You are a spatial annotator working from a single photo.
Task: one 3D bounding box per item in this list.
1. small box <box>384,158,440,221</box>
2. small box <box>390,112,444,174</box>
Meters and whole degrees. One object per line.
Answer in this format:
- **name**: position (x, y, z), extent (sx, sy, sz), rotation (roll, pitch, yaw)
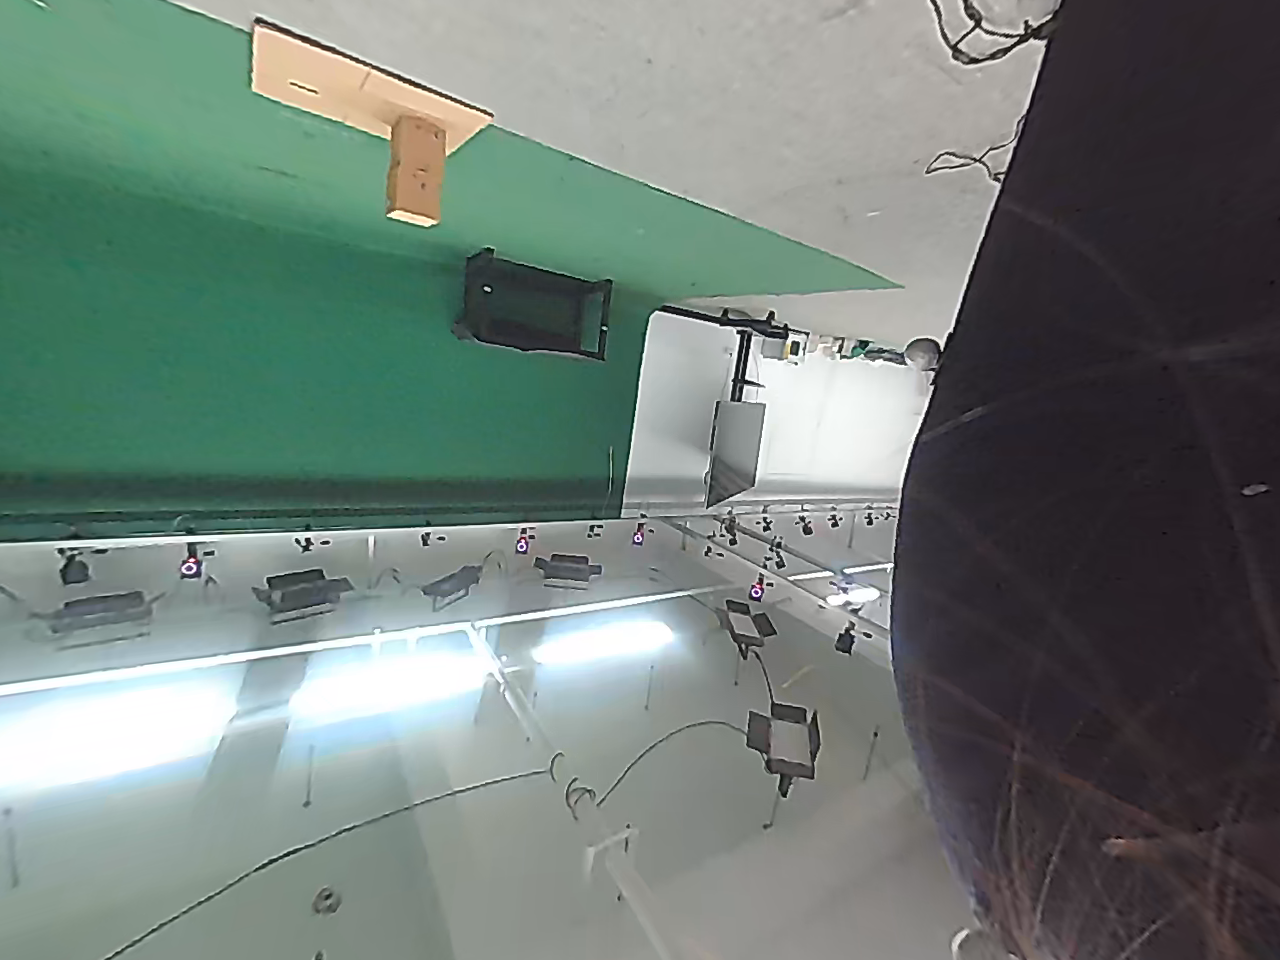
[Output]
- **small box**: position (-0.905, -1.150, 2.148), extent (0.168, 0.176, 0.179), rotation (-1, -165, -38)
- **small box**: position (-0.871, -1.305, 2.109), extent (0.168, 0.176, 0.179), rotation (-1, -164, -37)
